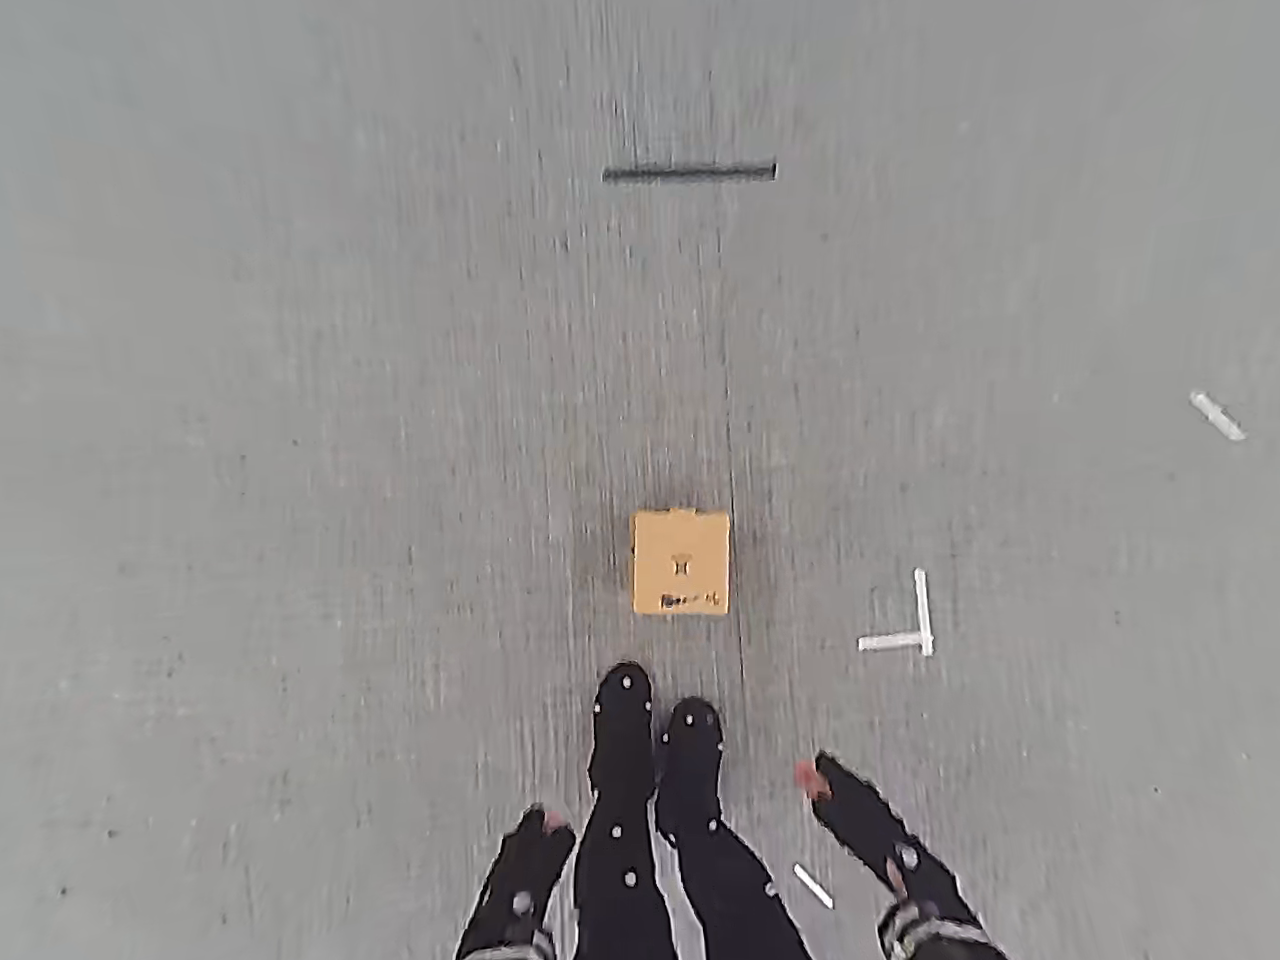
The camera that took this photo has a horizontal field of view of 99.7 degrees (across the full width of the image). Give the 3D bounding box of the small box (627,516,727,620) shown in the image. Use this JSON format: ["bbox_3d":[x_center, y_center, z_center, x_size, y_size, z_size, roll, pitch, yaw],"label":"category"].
[{"bbox_3d":[0.062,0.159,1.013,0.168,0.176,0.179,2,86,-4],"label":"small box"}]
